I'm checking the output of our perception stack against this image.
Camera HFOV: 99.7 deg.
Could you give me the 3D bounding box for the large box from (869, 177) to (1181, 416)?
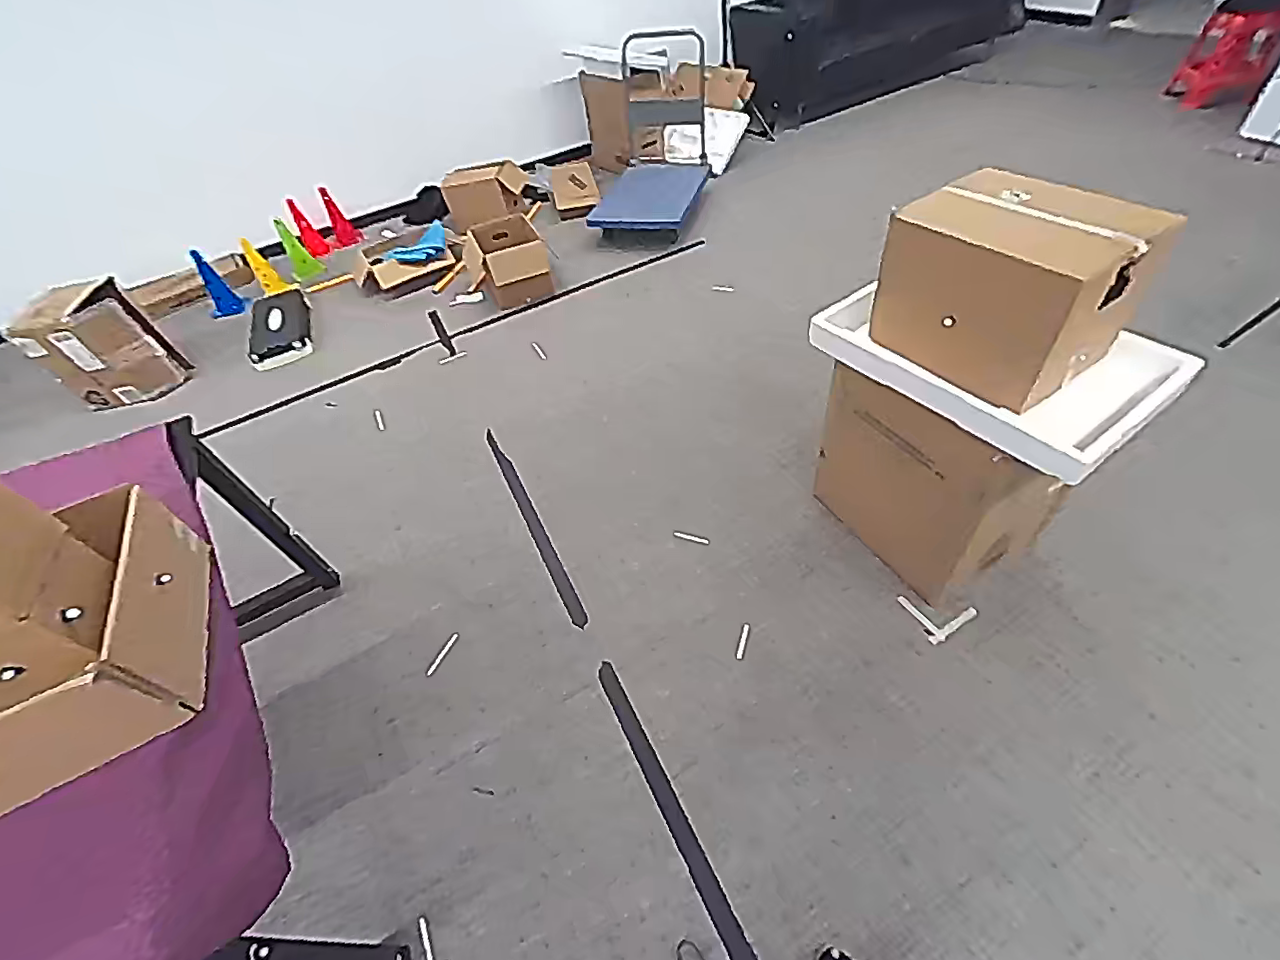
[{"bbox_3d":[0.782,-0.406,1.173,0.320,0.320,0.408,-29,48,-17],"label":"large box"}]
